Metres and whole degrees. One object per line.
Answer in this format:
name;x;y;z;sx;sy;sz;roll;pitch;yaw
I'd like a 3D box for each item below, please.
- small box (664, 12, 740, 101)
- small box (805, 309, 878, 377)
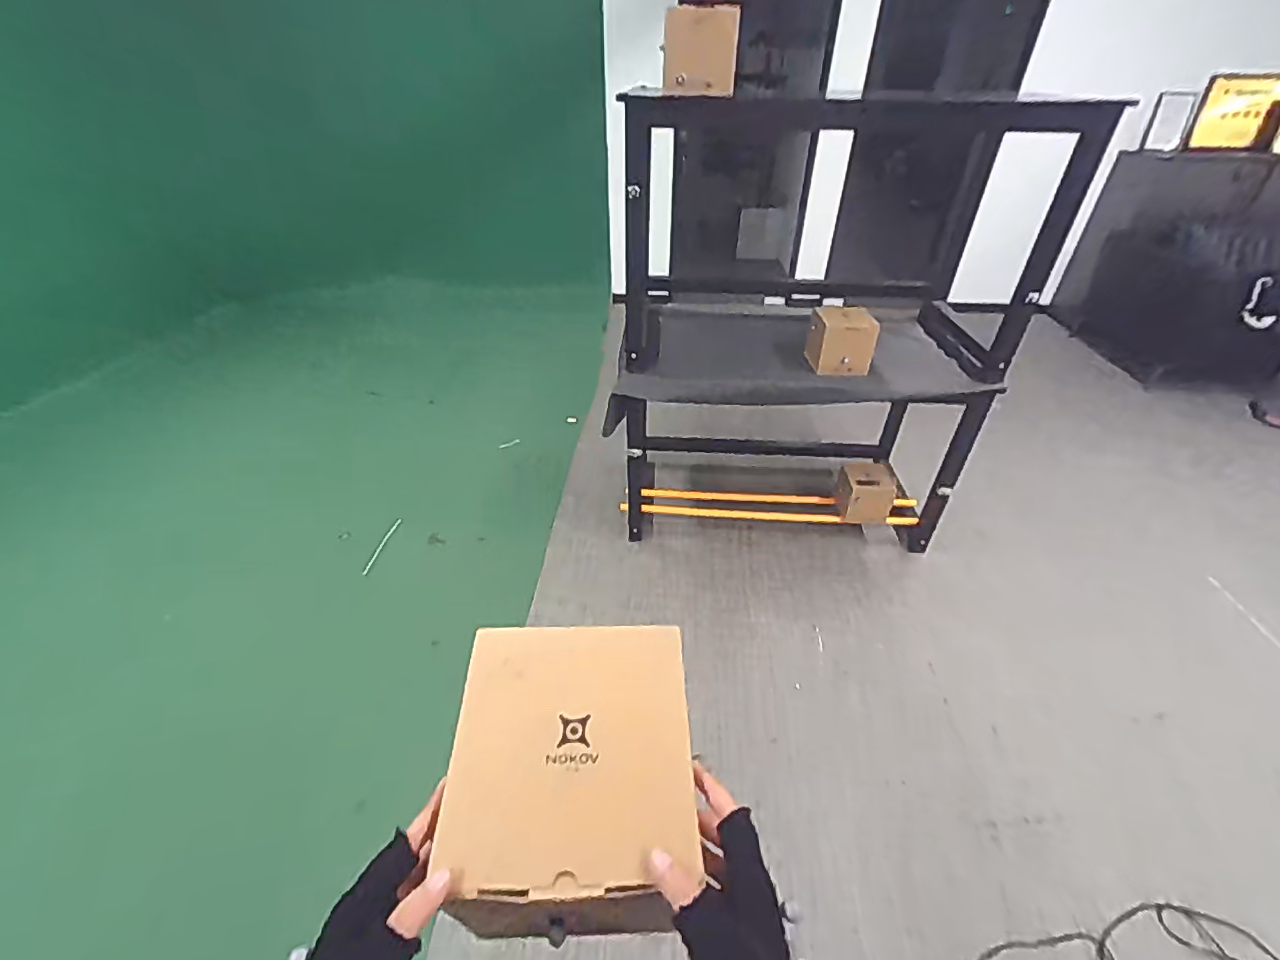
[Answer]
small box;0.149;-1.060;1.360;0.168;0.176;0.179;0;36;-2
small box;0.651;-0.451;1.773;0.168;0.176;0.179;1;36;1
